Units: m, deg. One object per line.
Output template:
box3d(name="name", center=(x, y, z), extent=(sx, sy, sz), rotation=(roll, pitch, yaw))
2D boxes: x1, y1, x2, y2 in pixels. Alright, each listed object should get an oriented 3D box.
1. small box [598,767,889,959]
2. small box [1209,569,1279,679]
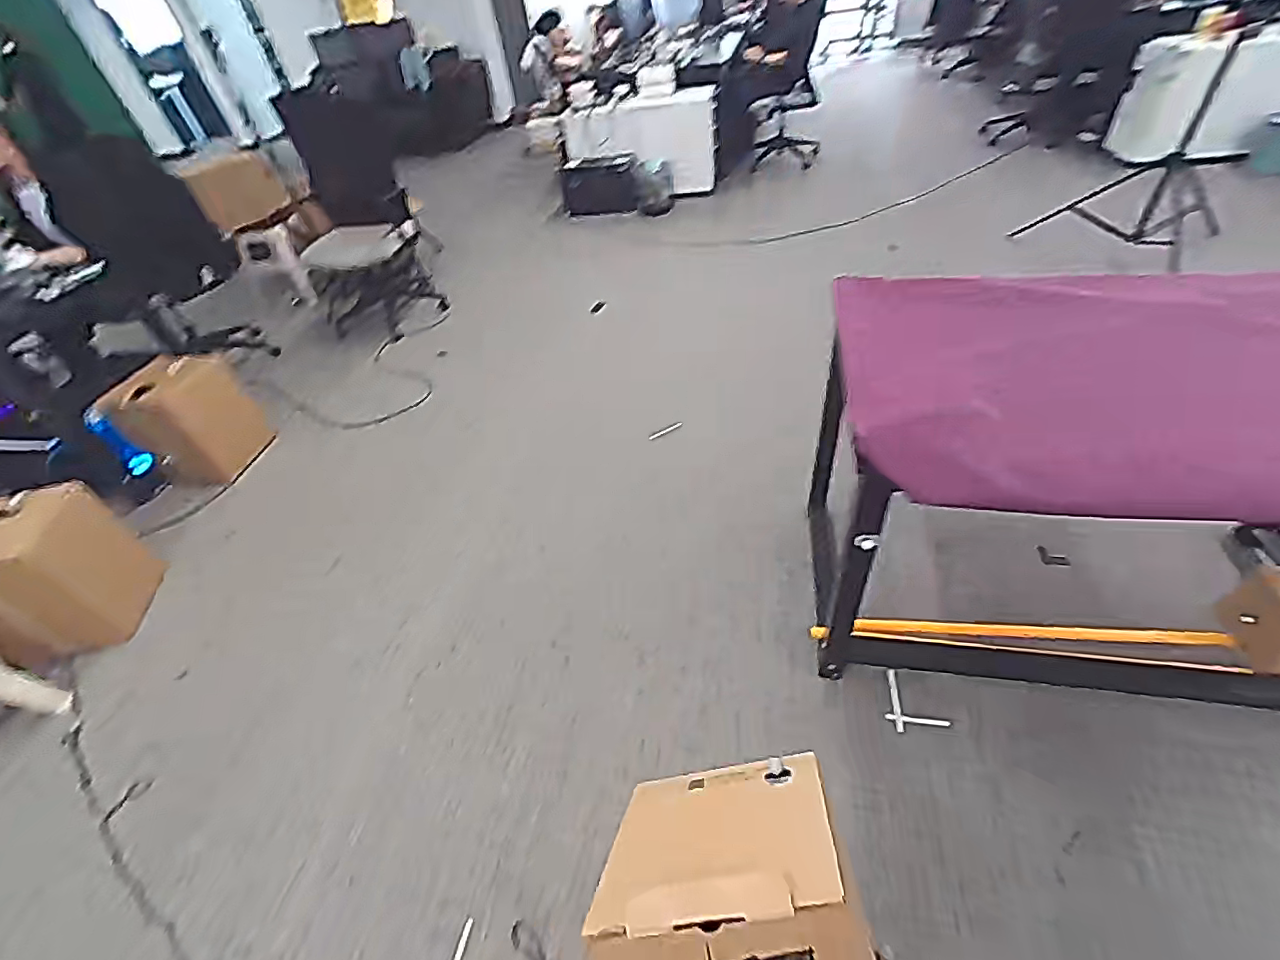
box3d(name="small box", center=(0.088, 0.334, 0.389), extent=(0.168, 0.179, 0.176), rotation=(-17, -2, 13))
box3d(name="small box", center=(1.353, 0.303, 1.121), extent=(0.179, 0.176, 0.168), rotation=(1, 45, 11))
